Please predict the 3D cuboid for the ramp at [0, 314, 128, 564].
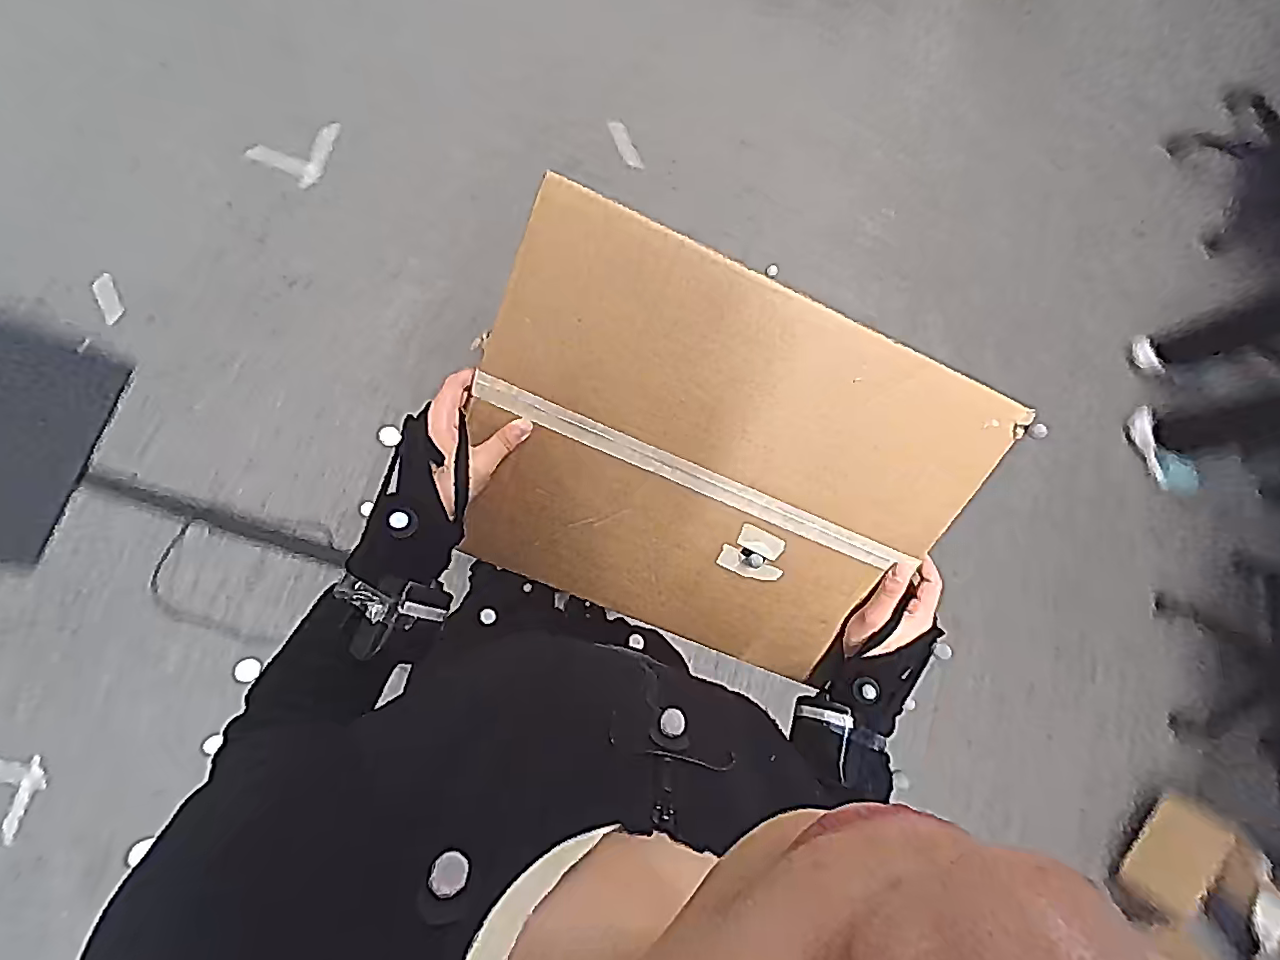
[{"bbox_3d":[-1.661,-0.217,1.021,0.991,0.206,0.509,18,80,-11],"label":"ramp"}]
